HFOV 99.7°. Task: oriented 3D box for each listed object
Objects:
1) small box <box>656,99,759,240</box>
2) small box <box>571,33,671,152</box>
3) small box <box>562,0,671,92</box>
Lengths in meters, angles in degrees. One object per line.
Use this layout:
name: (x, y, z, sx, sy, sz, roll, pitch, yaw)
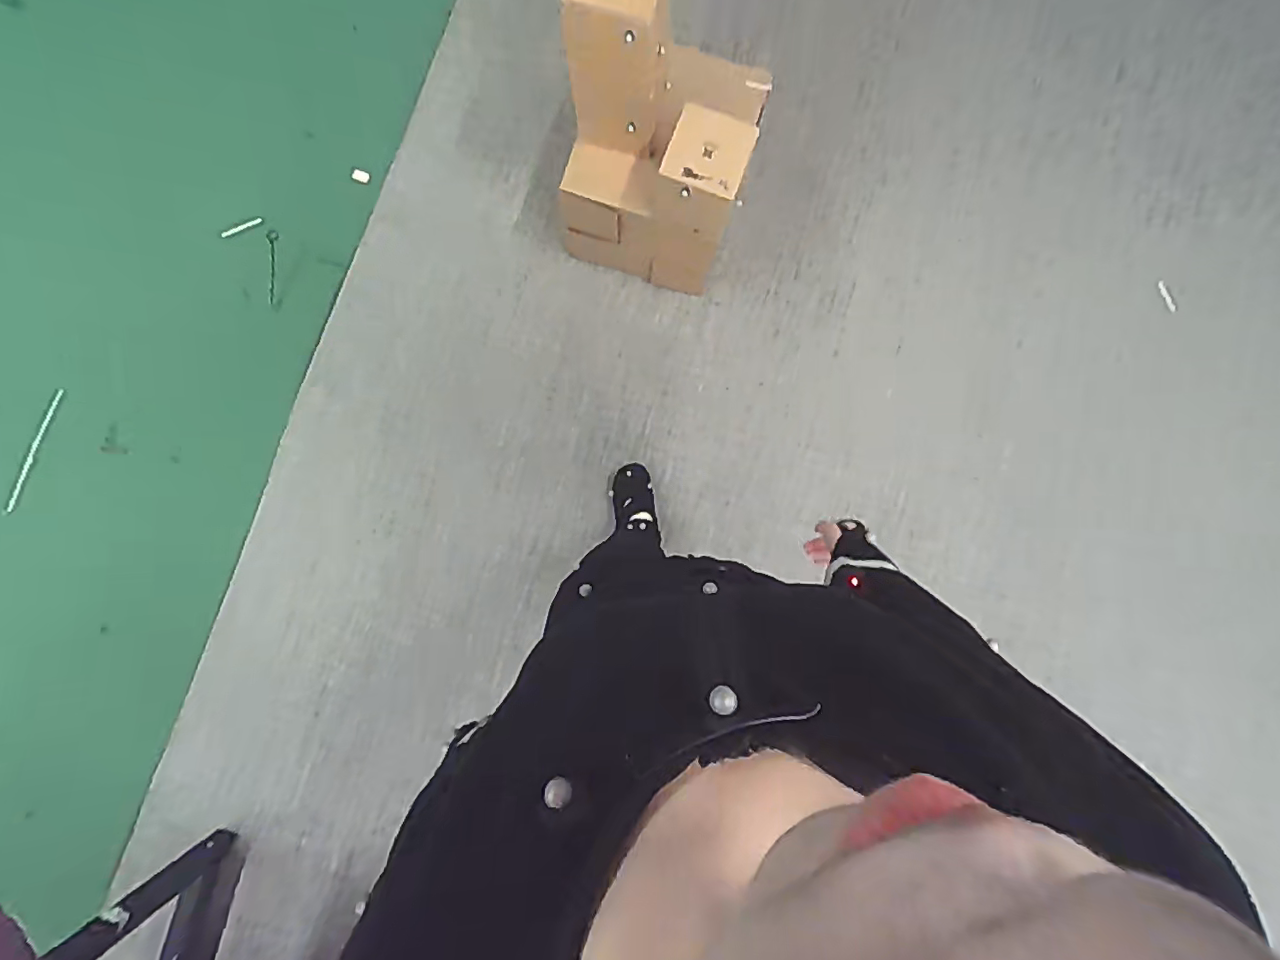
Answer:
small box: (0.139, -0.671, 1.186, 0.168, 0.176, 0.179, 22, 83, 1)
small box: (-0.039, -0.877, 1.210, 0.179, 0.176, 0.168, 15, 82, 2)
small box: (-0.042, -0.903, 1.049, 0.179, 0.176, 0.168, 16, 82, 1)
